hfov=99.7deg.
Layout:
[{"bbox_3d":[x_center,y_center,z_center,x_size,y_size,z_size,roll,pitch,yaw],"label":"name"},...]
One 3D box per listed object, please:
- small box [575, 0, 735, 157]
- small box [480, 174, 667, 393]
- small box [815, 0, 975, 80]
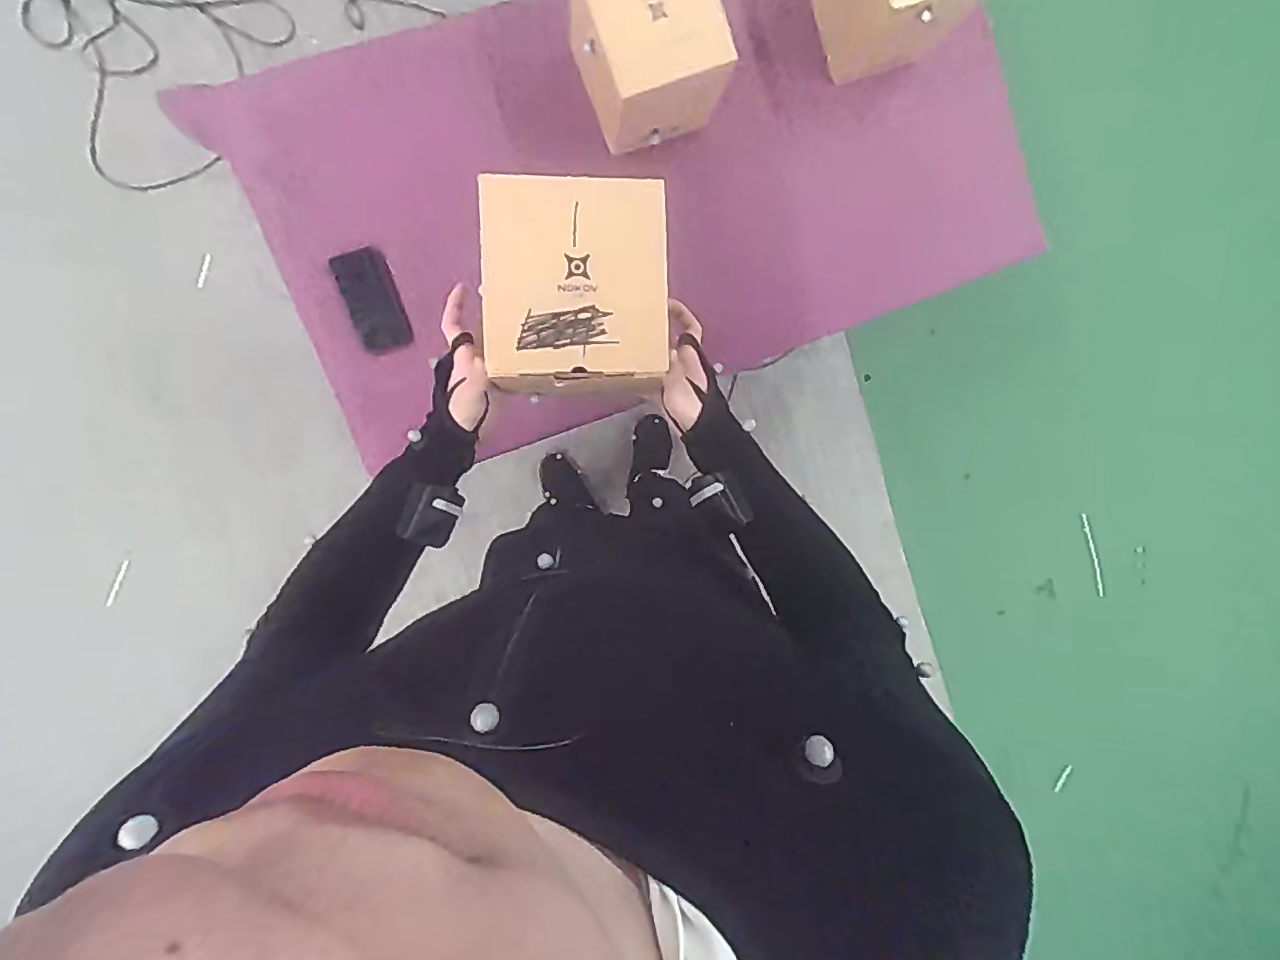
[{"bbox_3d":[0.010,-0.603,0.763,0.168,0.176,0.179,-22,98,-3],"label":"small box"},{"bbox_3d":[-0.063,-0.183,0.557,0.168,0.176,0.179,-1,93,-5],"label":"small box"},{"bbox_3d":[0.373,-0.741,0.789,0.168,0.176,0.179,-20,97,-3],"label":"small box"}]
